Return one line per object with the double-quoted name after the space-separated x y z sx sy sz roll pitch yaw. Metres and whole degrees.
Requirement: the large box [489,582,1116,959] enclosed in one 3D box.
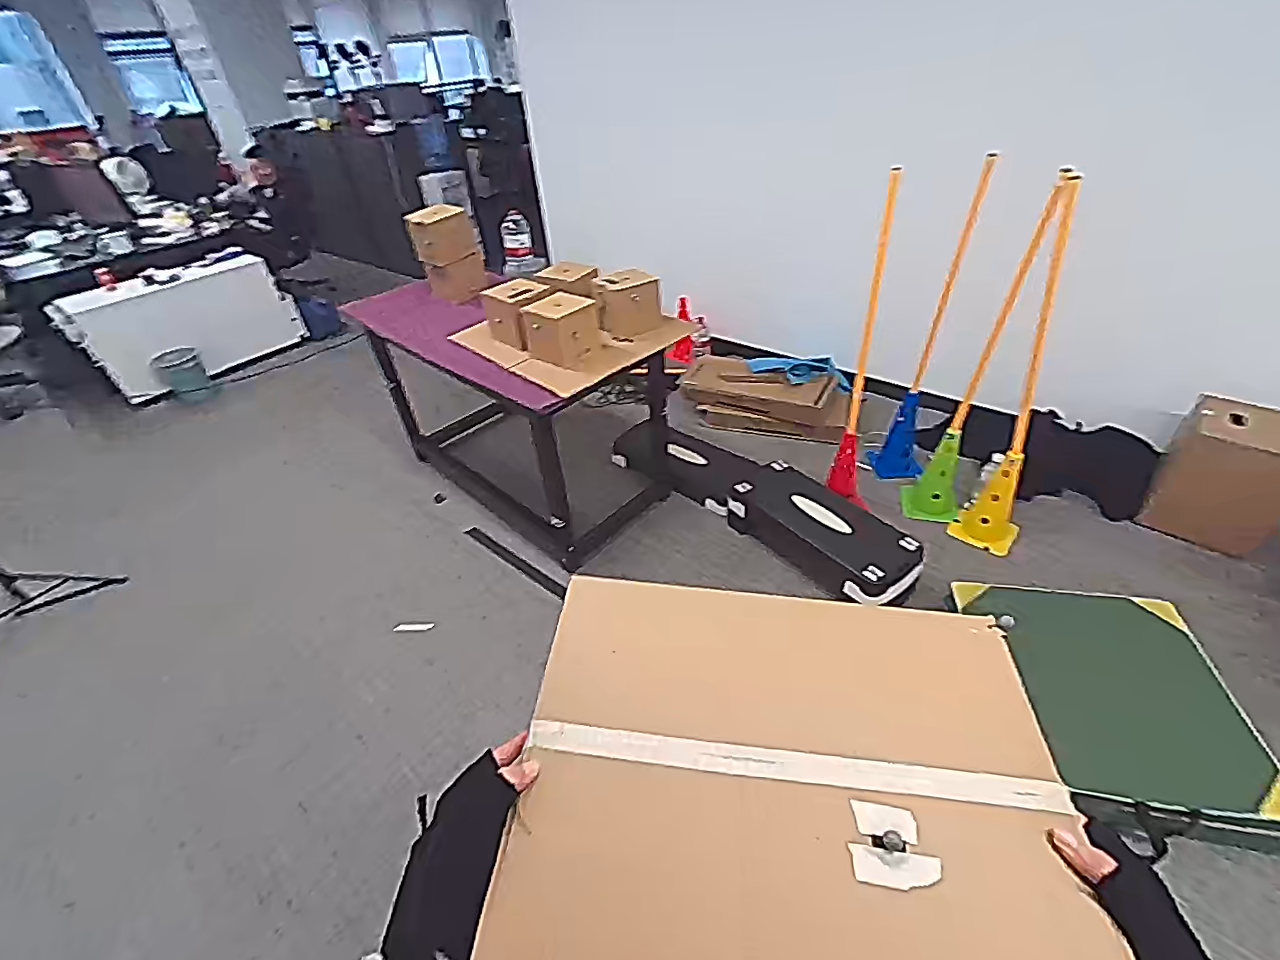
0.115 0.330 0.531 0.408 0.320 0.320 5 44 6 "large box"
